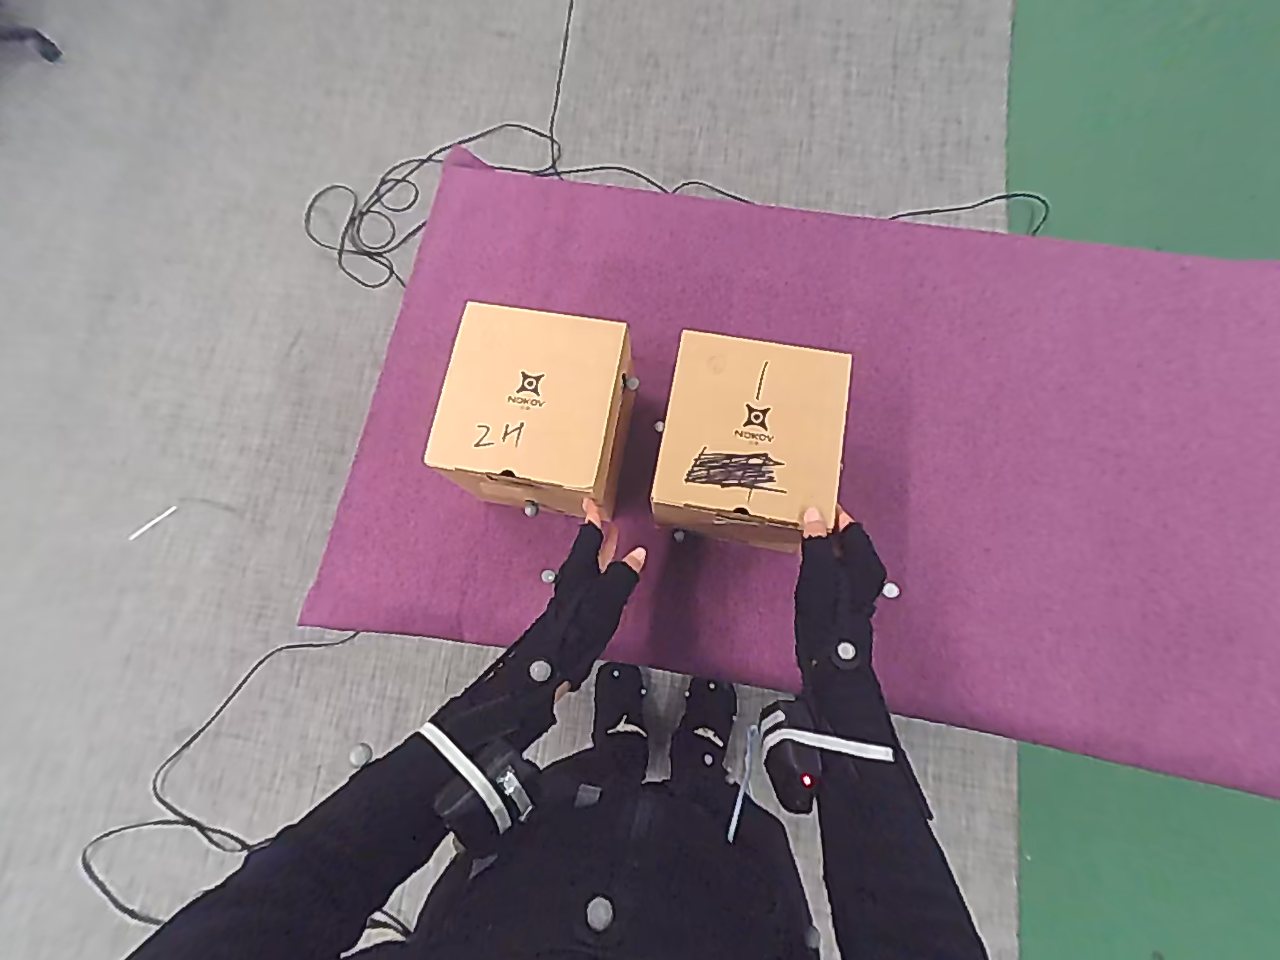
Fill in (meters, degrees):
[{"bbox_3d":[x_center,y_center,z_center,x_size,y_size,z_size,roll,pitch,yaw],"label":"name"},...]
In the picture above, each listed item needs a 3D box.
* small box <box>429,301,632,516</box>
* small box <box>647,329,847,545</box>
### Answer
[{"bbox_3d":[-0.104,-0.068,0.602,0.168,0.176,0.179,9,78,5],"label":"small box"},{"bbox_3d":[0.107,-0.034,0.584,0.168,0.176,0.179,10,76,5],"label":"small box"}]
